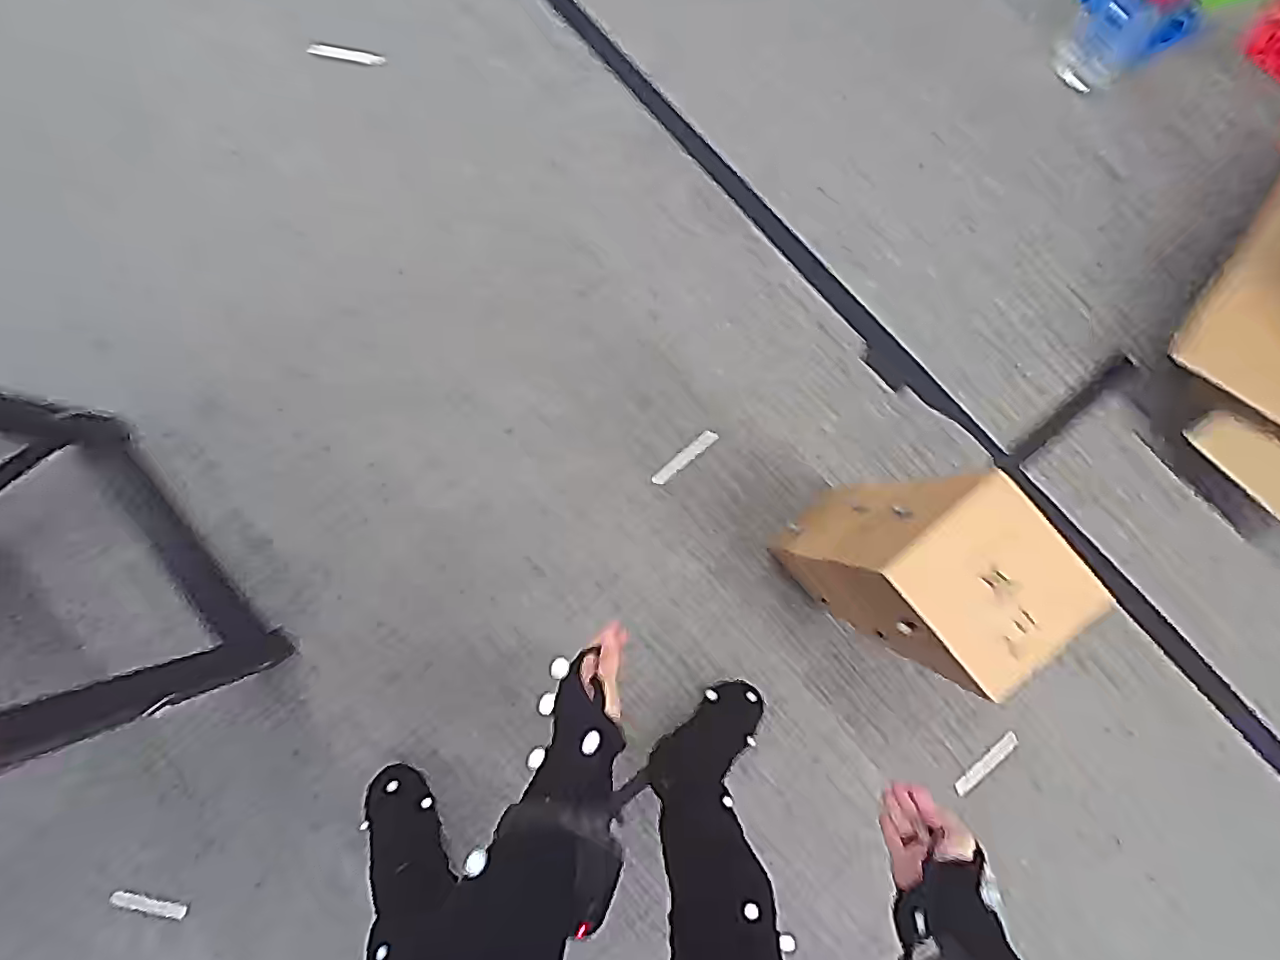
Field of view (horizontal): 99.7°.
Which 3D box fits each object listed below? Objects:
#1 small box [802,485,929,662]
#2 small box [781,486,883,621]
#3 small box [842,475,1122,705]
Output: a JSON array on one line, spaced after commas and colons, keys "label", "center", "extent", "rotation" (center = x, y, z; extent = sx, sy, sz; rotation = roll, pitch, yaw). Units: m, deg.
[{"label": "small box", "center": [0.368, 0.128, 0.789], "extent": [0.168, 0.176, 0.179], "rotation": [-40, 88, -3]}, {"label": "small box", "center": [0.370, 0.132, 0.951], "extent": [0.179, 0.176, 0.168], "rotation": [-41, 88, -4]}, {"label": "small box", "center": [0.370, 0.115, 0.624], "extent": [0.168, 0.176, 0.179], "rotation": [-39, 89, -3]}]
